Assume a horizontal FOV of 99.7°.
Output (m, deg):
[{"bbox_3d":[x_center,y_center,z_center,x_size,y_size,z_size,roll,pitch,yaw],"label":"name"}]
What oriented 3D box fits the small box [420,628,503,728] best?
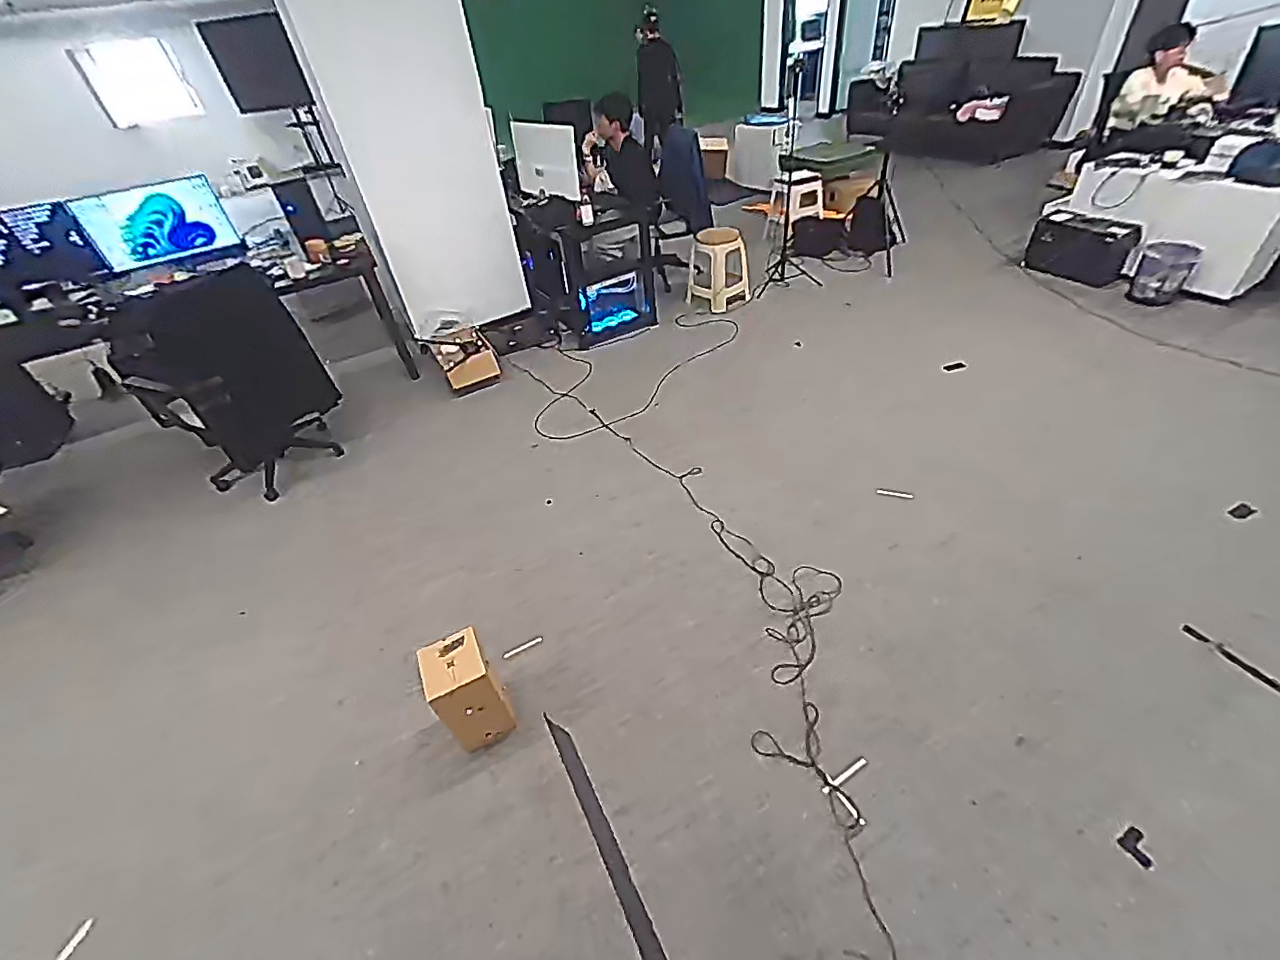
[{"bbox_3d":[-0.511,0.569,1.553,0.168,0.176,0.179,-22,44,-16],"label":"small box"}]
